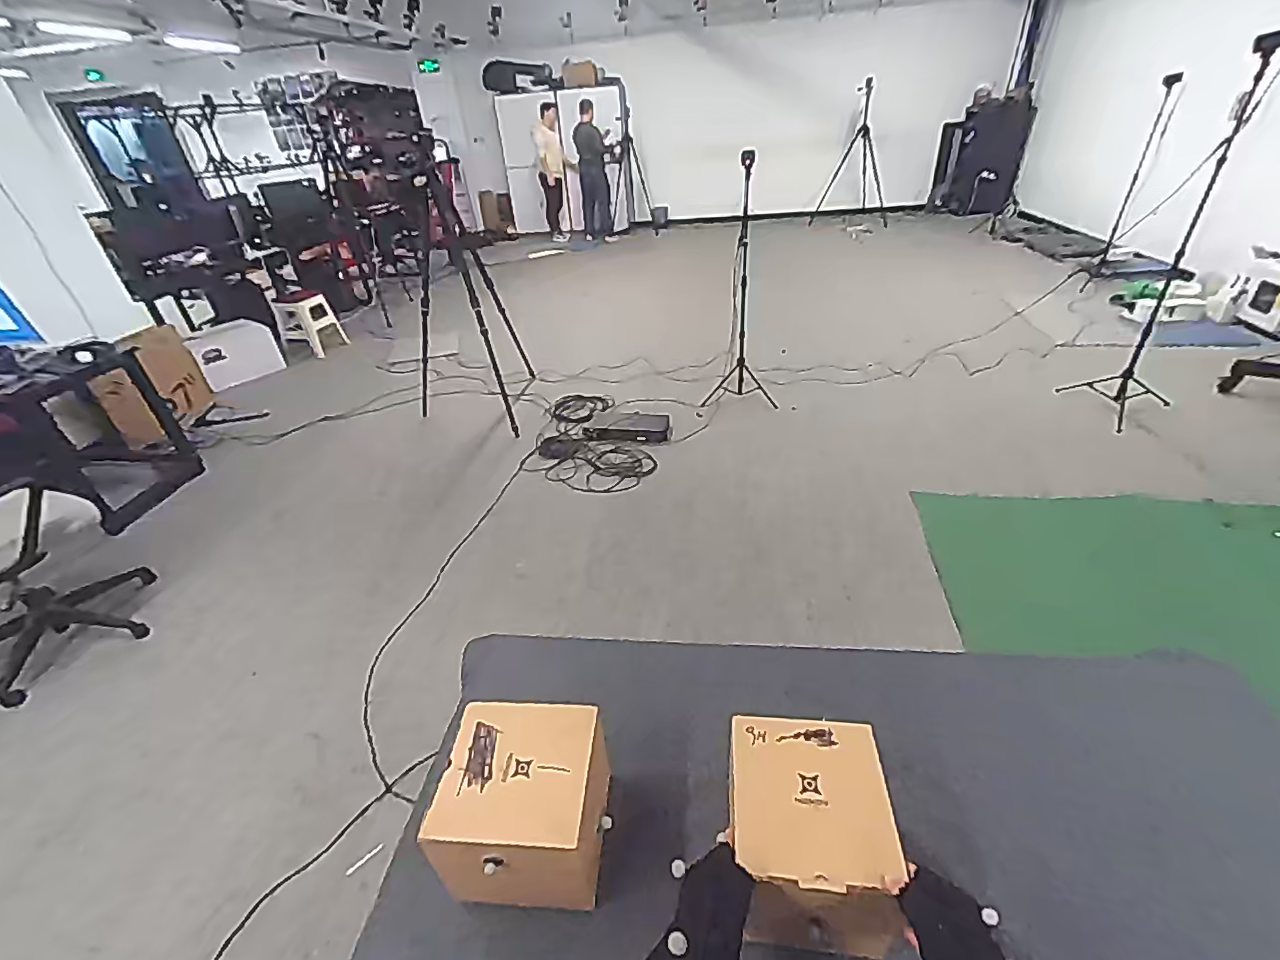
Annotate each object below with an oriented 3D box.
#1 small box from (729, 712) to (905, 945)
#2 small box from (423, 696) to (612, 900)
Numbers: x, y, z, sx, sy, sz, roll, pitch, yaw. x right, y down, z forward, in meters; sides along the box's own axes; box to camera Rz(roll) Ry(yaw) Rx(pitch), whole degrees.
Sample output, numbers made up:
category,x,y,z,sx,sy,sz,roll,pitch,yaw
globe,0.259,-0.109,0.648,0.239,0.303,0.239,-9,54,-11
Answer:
category,x,y,z,sx,sy,sz,roll,pitch,yaw
small box,0.190,0.403,0.632,0.168,0.176,0.179,1,34,9
small box,-0.137,0.397,0.680,0.179,0.176,0.168,1,35,5
